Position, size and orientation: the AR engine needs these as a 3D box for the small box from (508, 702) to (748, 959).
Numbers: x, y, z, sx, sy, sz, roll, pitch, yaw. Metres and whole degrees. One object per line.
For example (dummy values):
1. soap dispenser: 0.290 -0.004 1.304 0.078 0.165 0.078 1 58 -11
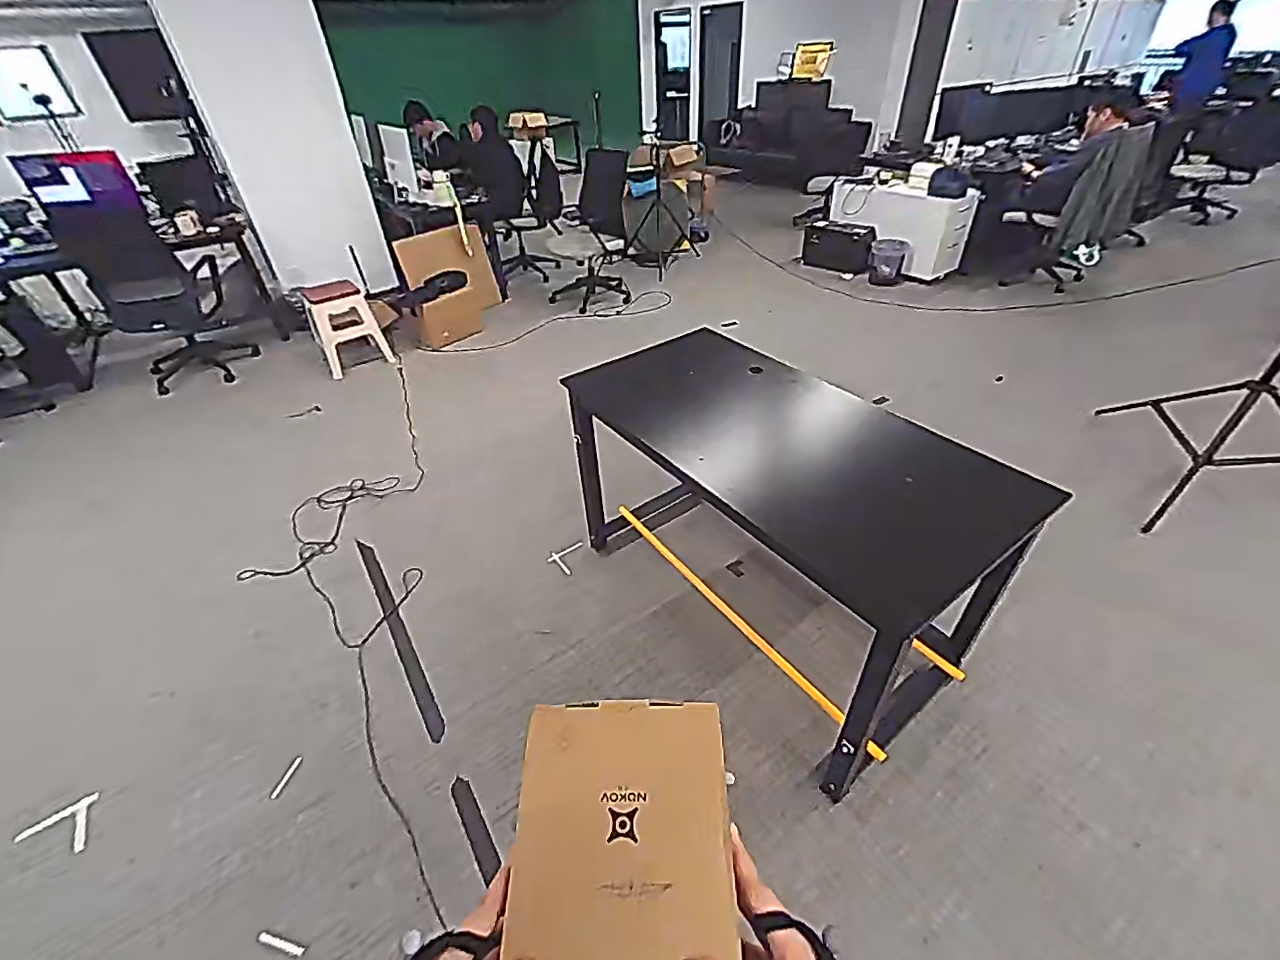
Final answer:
1. small box: -0.005 0.314 0.476 0.168 0.176 0.179 -2 49 2
